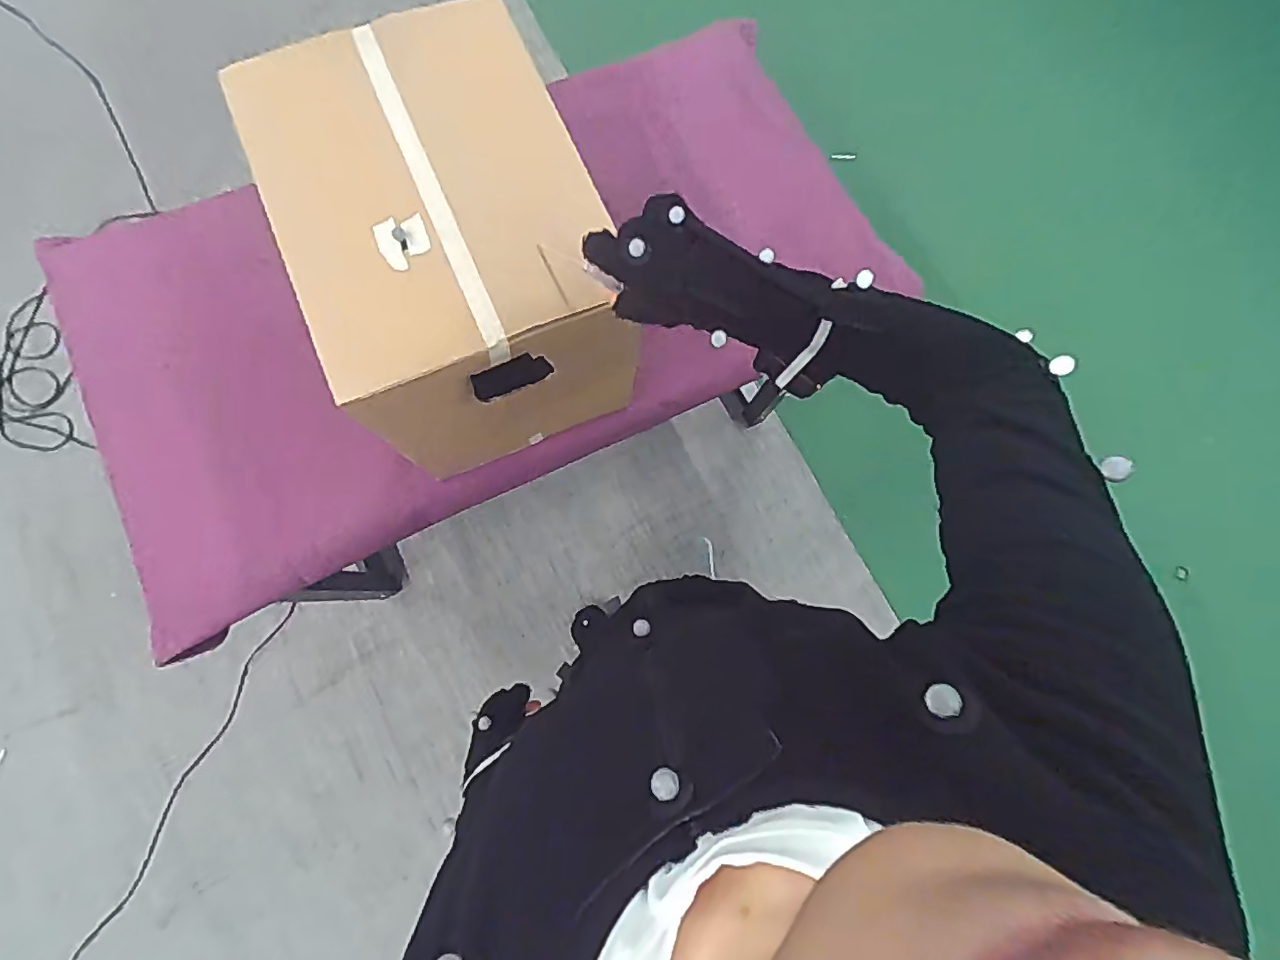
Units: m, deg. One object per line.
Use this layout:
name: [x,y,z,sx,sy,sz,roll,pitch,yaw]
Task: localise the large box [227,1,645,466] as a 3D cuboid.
large box: [-0.227,-0.283,0.704,0.320,0.320,0.408,-23,81,-9]
